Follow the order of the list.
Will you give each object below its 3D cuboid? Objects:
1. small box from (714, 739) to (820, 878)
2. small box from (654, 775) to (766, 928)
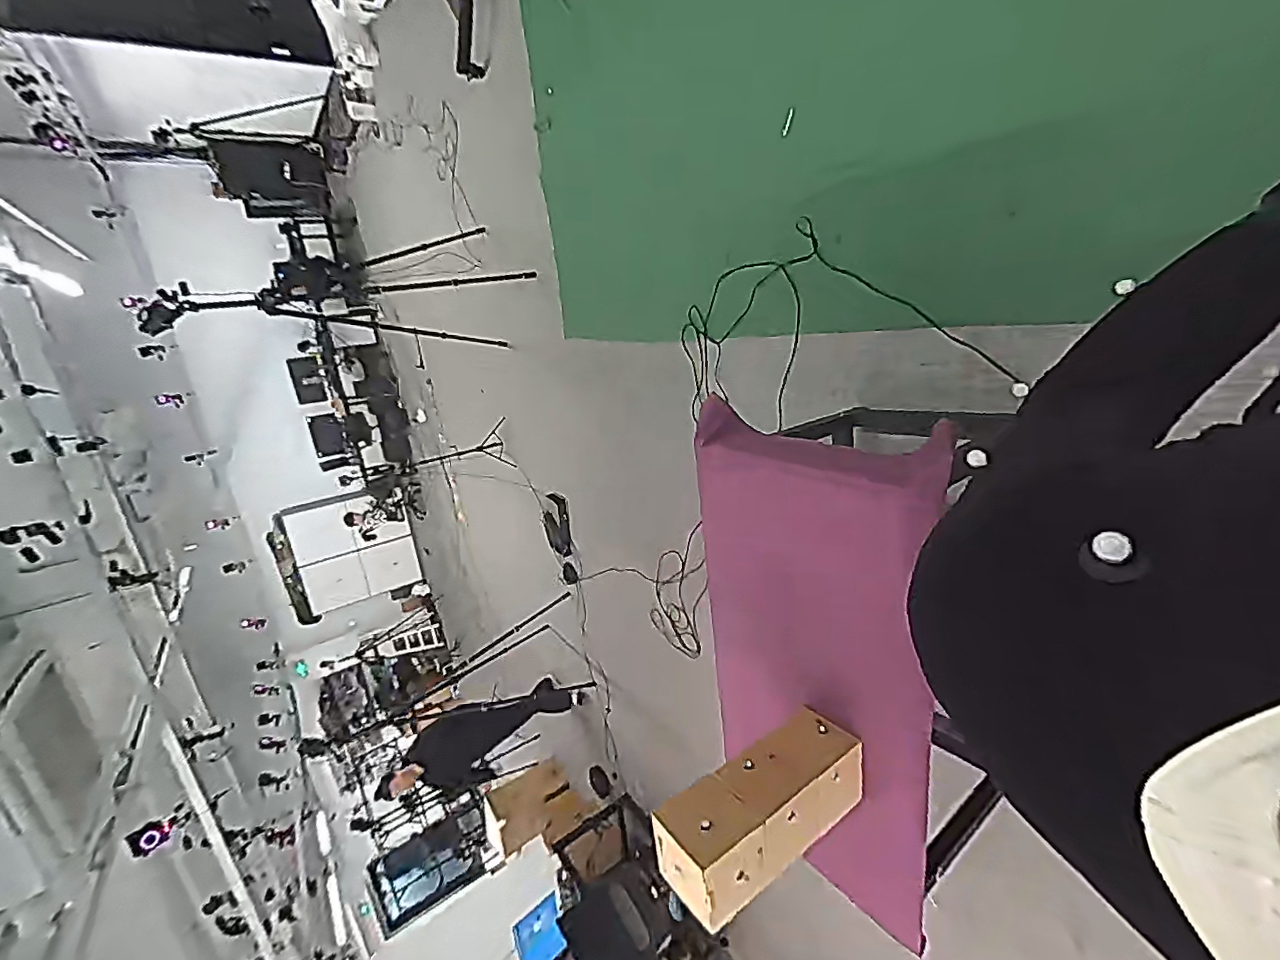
[{"bbox_3d":[0.290,0.732,1.229,0.168,0.176,0.179,16,118,54],"label":"small box"},{"bbox_3d":[0.154,0.772,1.148,0.179,0.176,0.168,14,115,54],"label":"small box"}]
